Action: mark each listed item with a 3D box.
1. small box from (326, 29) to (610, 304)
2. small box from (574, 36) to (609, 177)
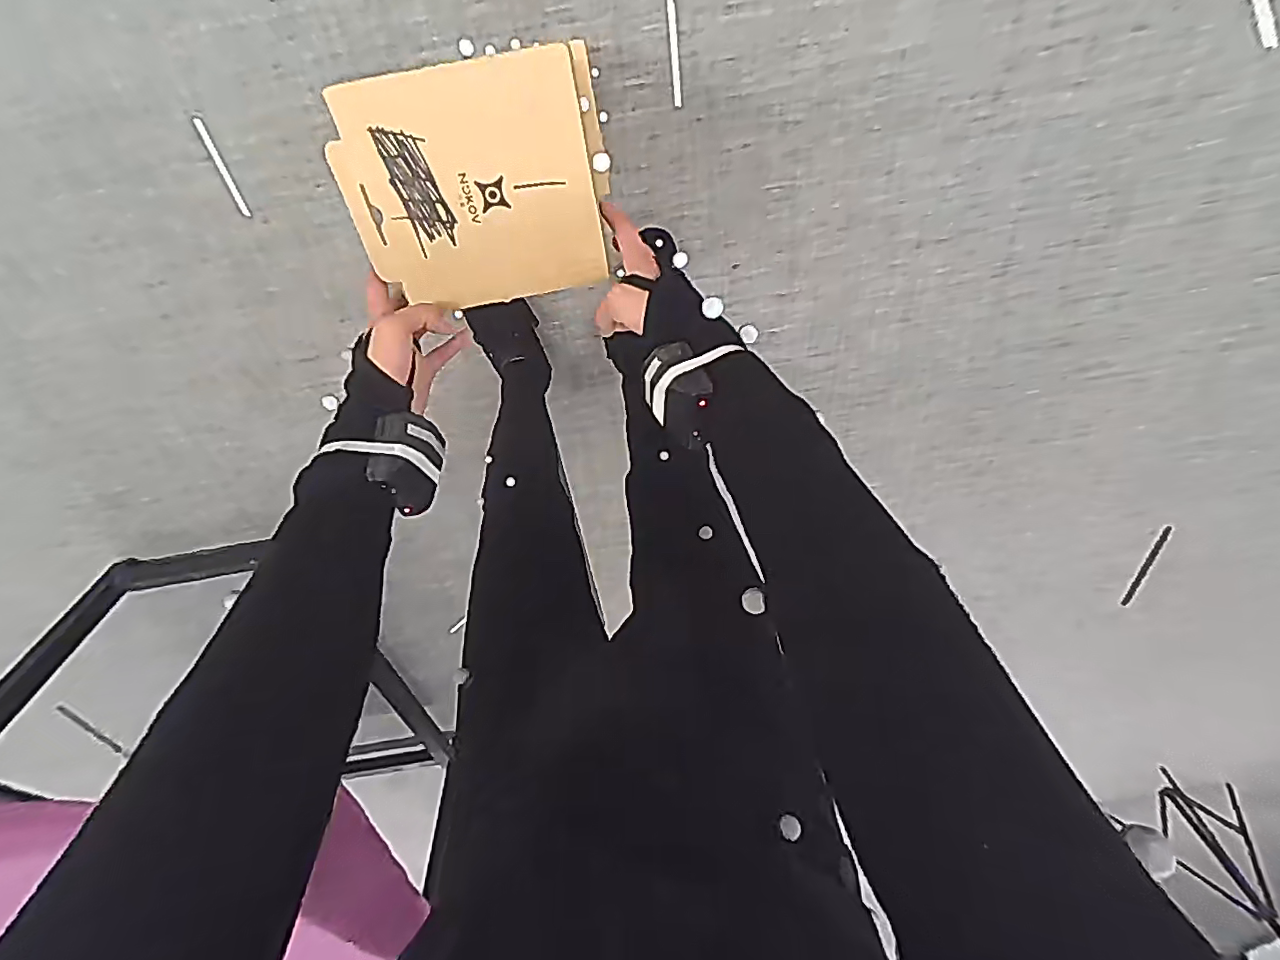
[{"bbox_3d":[-0.127,-0.274,0.478,0.179,0.176,0.168,-10,127,1],"label":"small box"},{"bbox_3d":[-0.145,-0.581,0.865,0.168,0.176,0.179,-12,127,4],"label":"small box"}]
